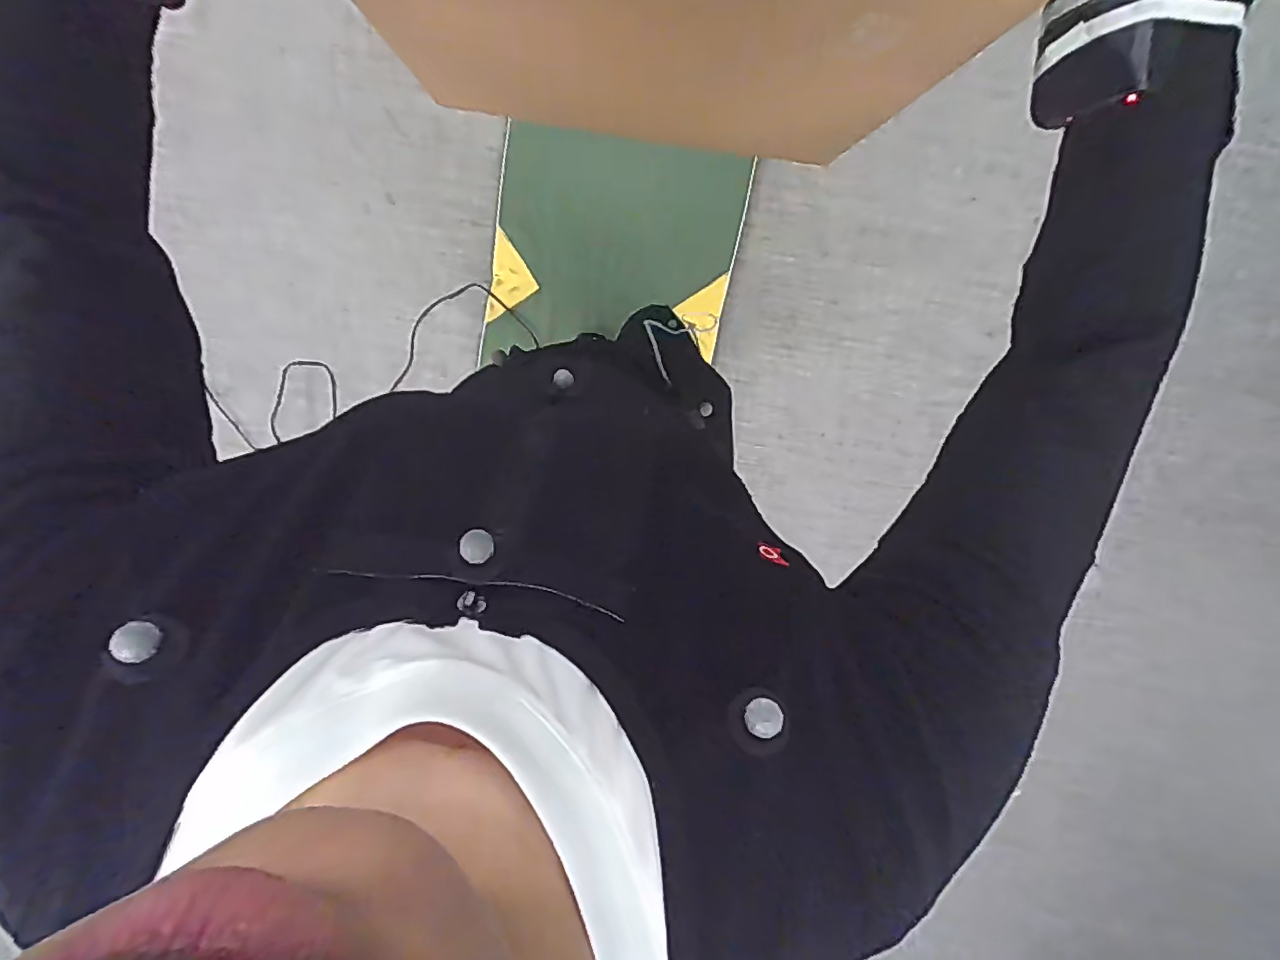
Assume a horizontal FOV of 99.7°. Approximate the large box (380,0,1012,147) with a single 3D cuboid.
[{"bbox_3d":[0.027,-0.463,0.363,0.408,0.320,0.320,5,107,-5],"label":"large box"}]
